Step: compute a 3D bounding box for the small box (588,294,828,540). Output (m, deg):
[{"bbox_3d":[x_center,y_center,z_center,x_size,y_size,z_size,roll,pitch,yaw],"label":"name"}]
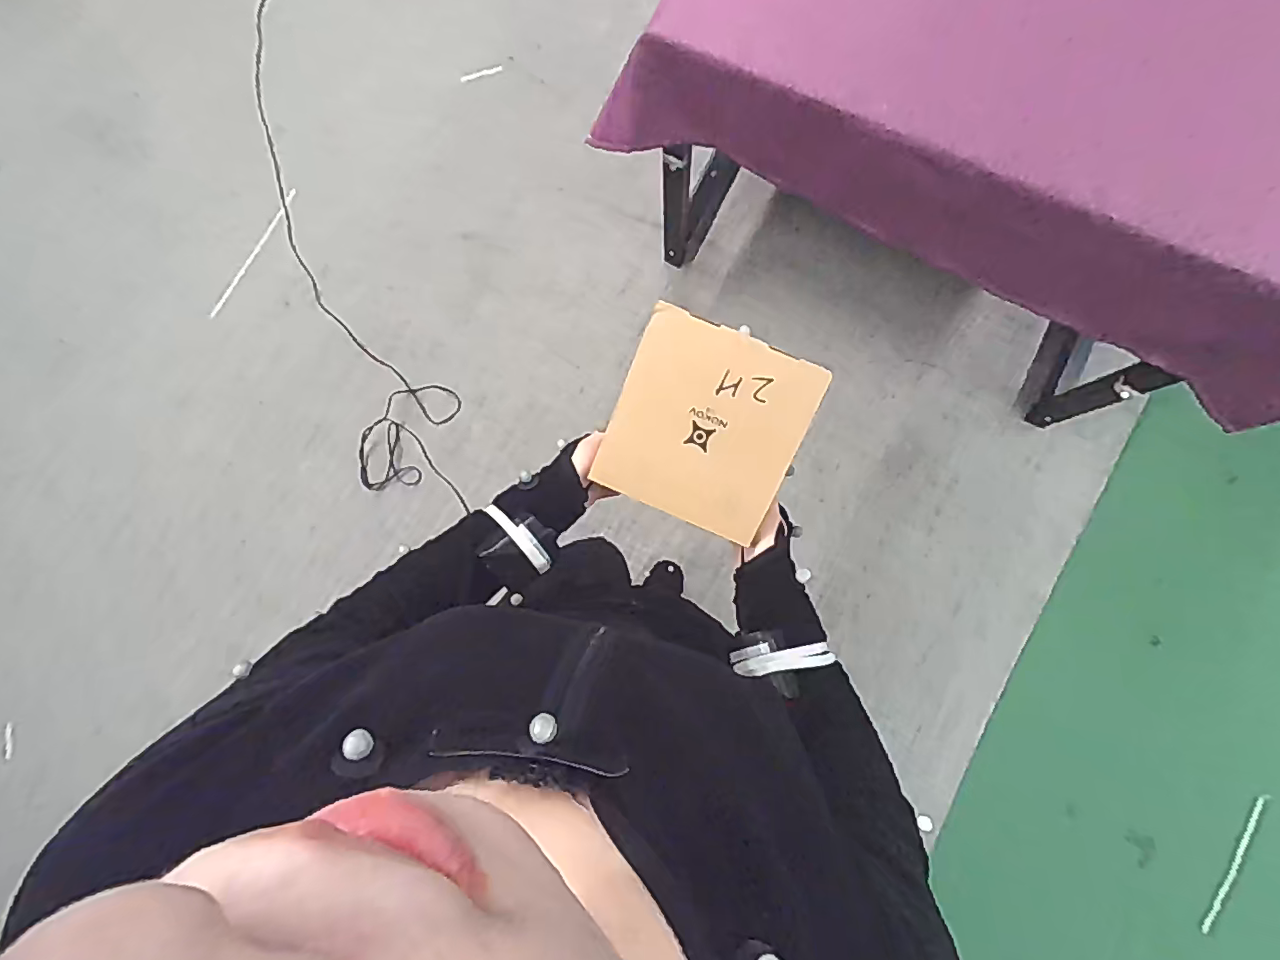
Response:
[{"bbox_3d":[0.067,-0.068,0.559,0.168,0.176,0.179,23,104,2],"label":"small box"}]
